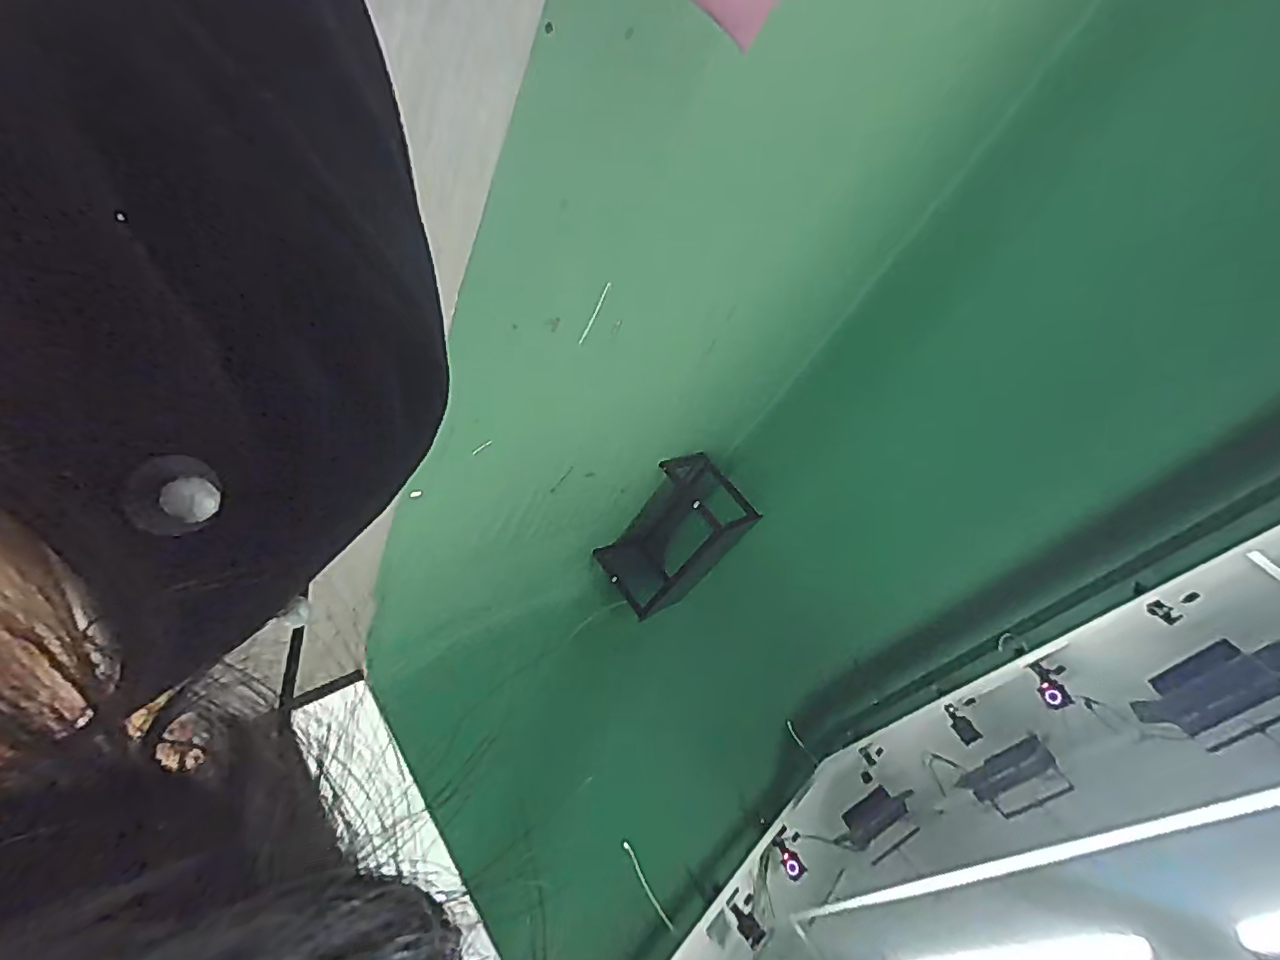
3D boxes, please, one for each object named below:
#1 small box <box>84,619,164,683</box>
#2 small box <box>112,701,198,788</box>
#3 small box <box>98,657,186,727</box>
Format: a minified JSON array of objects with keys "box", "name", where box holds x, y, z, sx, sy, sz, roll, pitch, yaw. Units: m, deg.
[{"box":[-1.735,0.592,1.827,0.168,0.176,0.179,-17,151,-44],"name":"small box"},{"box":[-1.541,0.837,1.722,0.168,0.176,0.179,-19,152,-44],"name":"small box"},{"box":[-1.636,0.715,1.781,0.179,0.176,0.168,-17,151,-44],"name":"small box"}]
